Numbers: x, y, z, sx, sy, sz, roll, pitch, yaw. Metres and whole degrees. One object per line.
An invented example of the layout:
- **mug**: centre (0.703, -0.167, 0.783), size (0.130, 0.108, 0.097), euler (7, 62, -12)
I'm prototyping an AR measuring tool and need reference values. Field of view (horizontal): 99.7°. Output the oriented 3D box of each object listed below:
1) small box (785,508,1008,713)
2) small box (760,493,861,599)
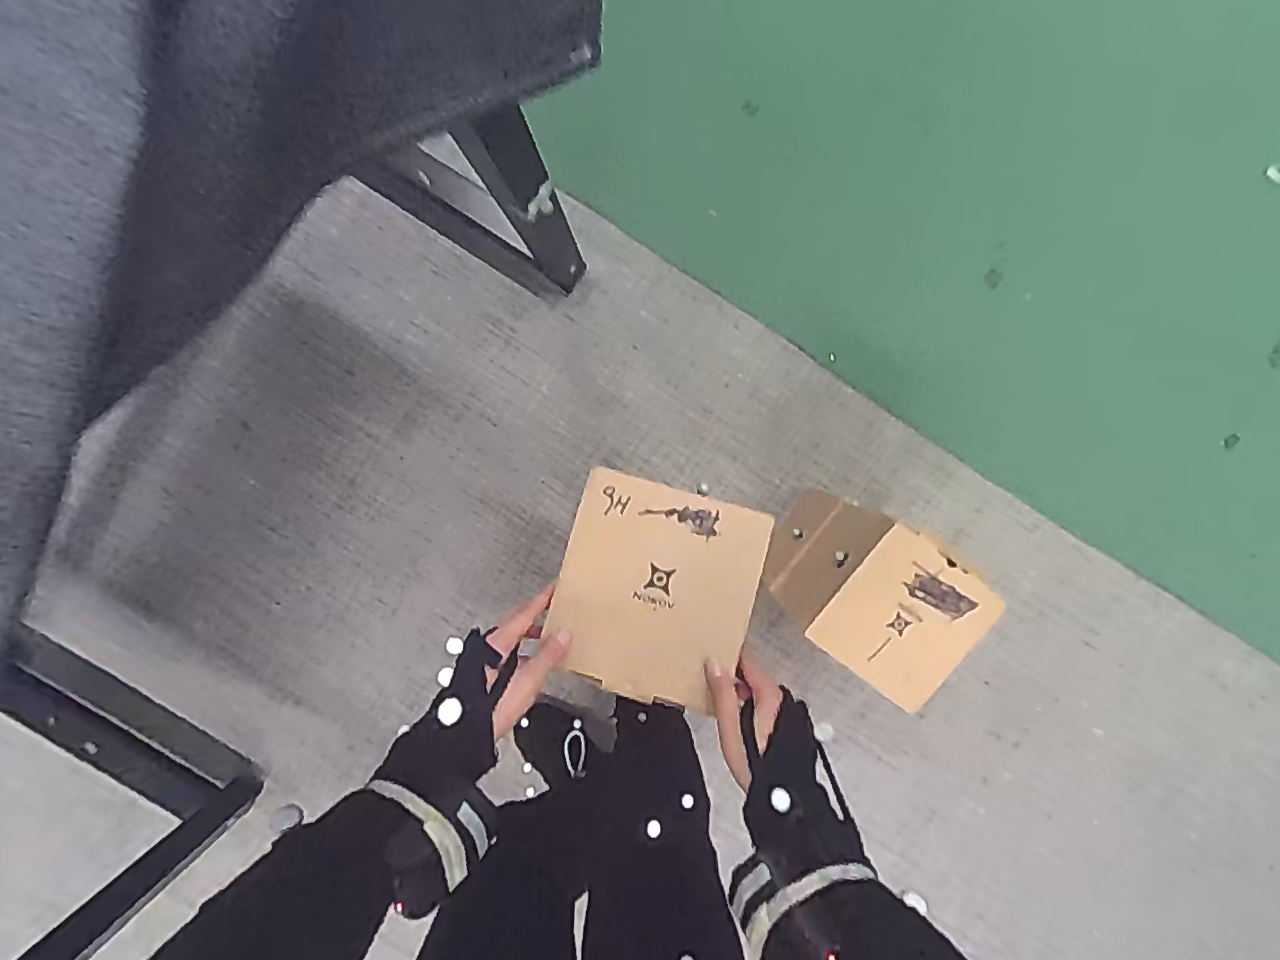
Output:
- **small box**: centre (0.314, 0.154, 0.708), size (0.168, 0.176, 0.179), euler (37, 95, 0)
- **small box**: centre (0.314, 0.137, 0.872), size (0.168, 0.176, 0.179), euler (37, 95, 0)
